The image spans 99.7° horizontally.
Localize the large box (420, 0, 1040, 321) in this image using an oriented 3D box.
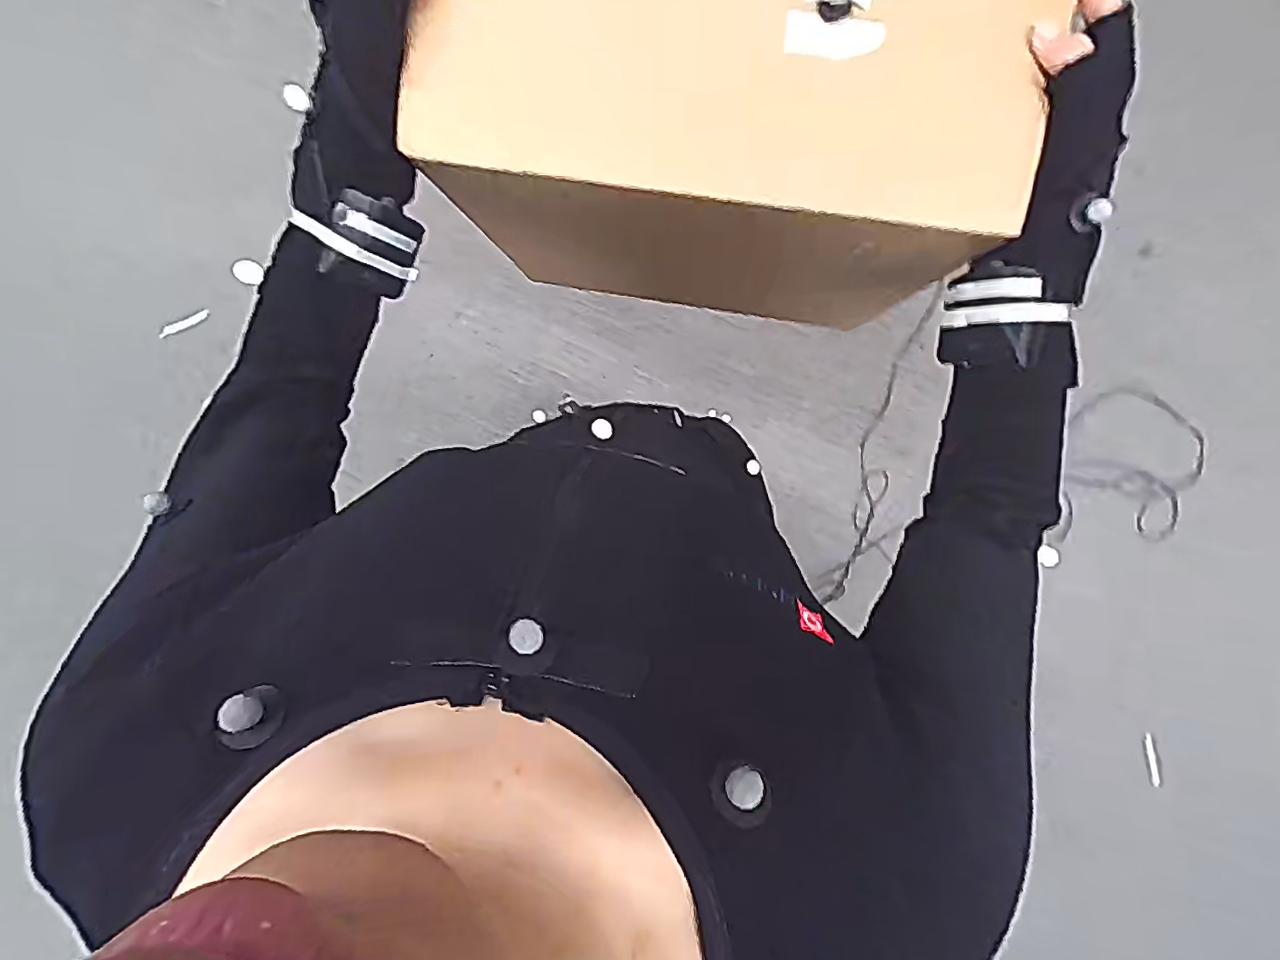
[{"bbox_3d":[0.070,-0.356,0.502,0.408,0.320,0.320,9,95,4],"label":"large box"}]
